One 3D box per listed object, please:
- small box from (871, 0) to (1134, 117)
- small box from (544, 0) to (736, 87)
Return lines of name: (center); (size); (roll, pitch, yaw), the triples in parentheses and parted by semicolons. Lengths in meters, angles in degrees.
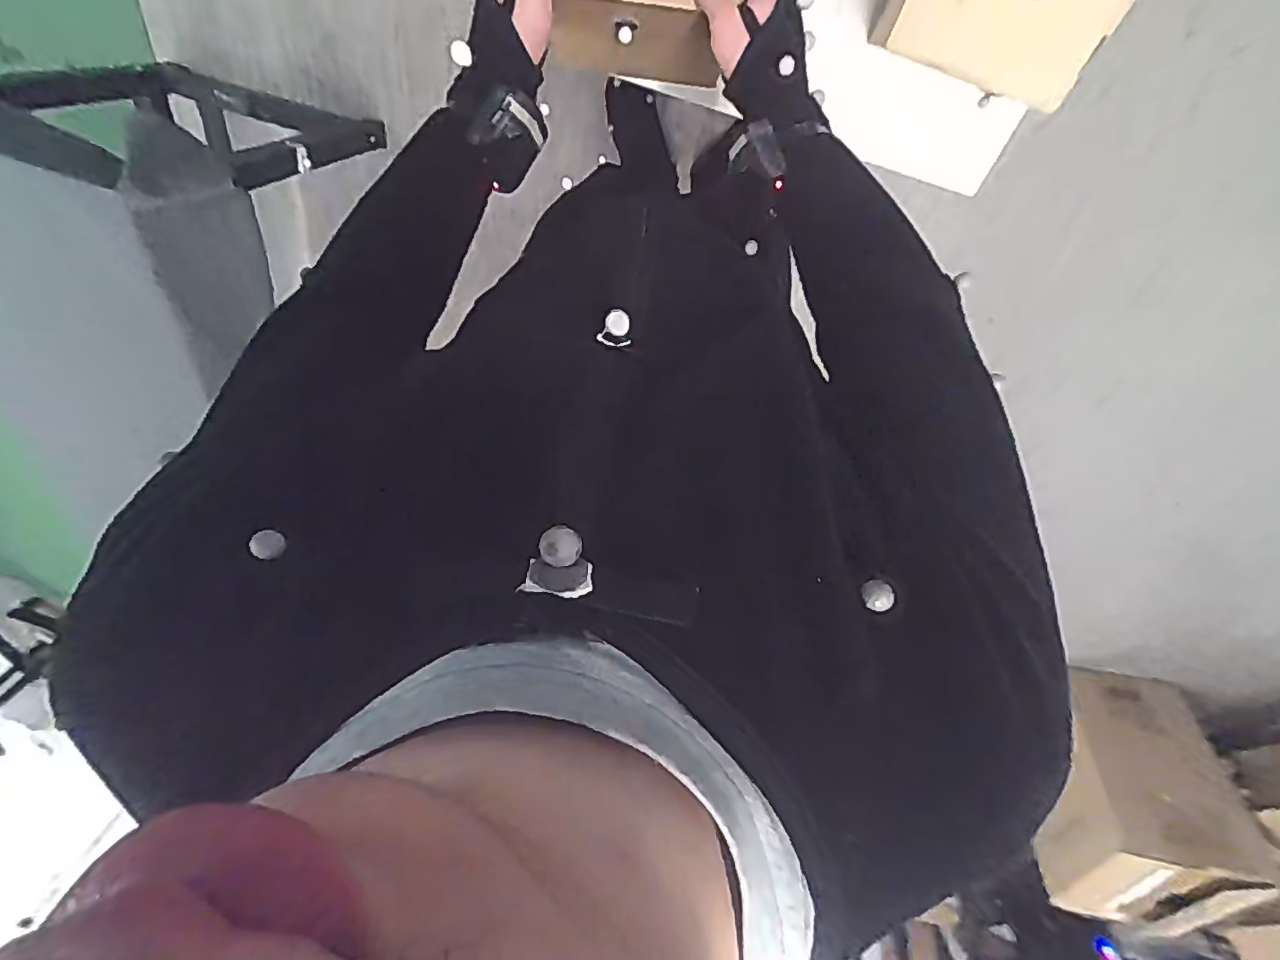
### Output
small box: (0.344, -0.473, 0.506); (0.179, 0.176, 0.168); (21, 131, 0)
small box: (0.005, -0.499, 0.506); (0.179, 0.176, 0.168); (6, 108, -1)
